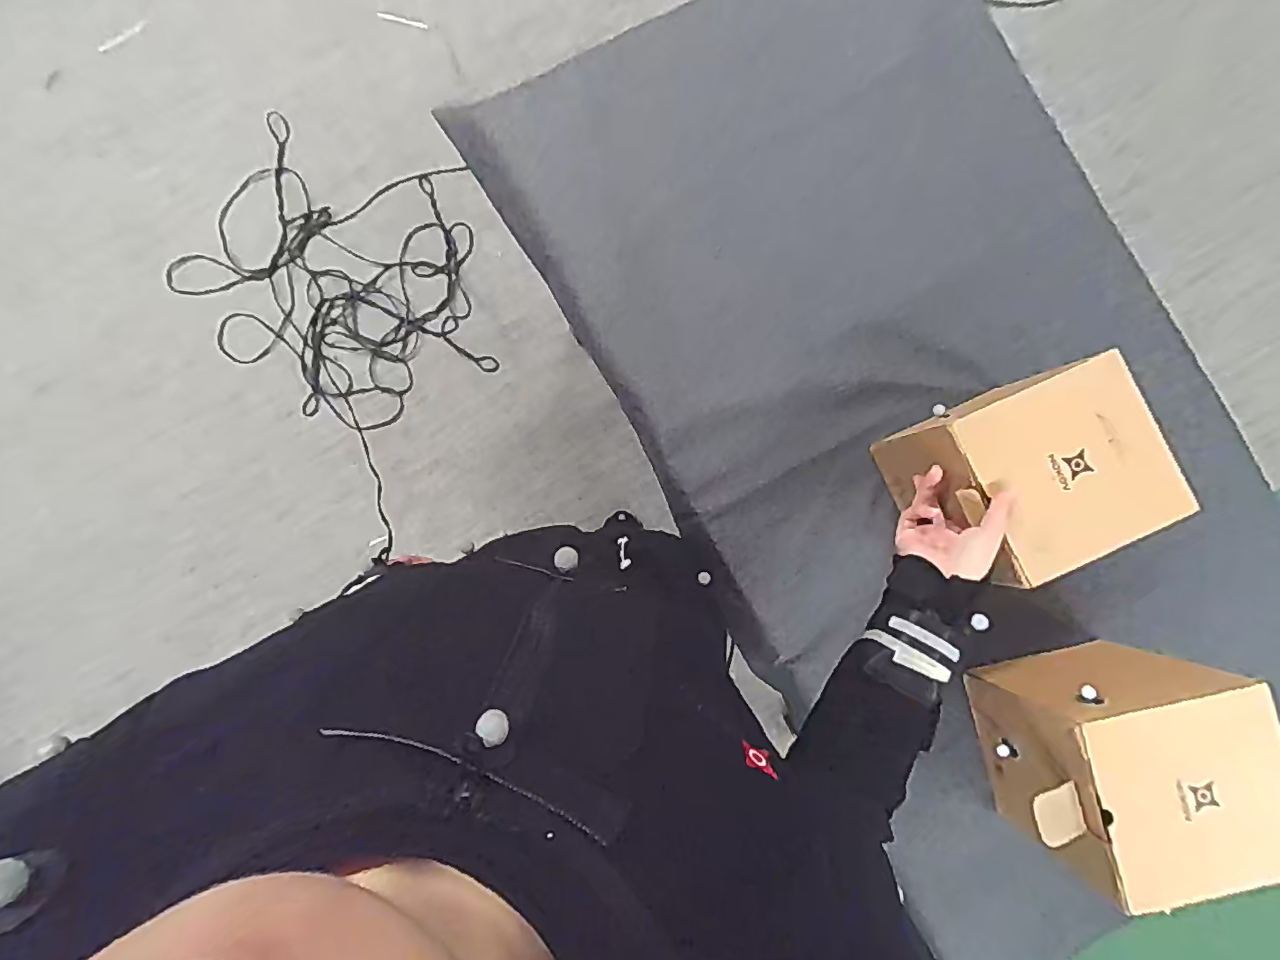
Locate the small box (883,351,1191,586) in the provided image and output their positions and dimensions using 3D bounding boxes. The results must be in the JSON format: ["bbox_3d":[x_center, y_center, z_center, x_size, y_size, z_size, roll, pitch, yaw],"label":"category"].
[{"bbox_3d":[0.387,-0.006,0.569,0.179,0.176,0.168,-26,88,-3],"label":"small box"}]

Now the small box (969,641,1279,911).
[{"bbox_3d":[0.483,0.277,0.550,0.179,0.176,0.168,-13,86,-1],"label":"small box"}]
